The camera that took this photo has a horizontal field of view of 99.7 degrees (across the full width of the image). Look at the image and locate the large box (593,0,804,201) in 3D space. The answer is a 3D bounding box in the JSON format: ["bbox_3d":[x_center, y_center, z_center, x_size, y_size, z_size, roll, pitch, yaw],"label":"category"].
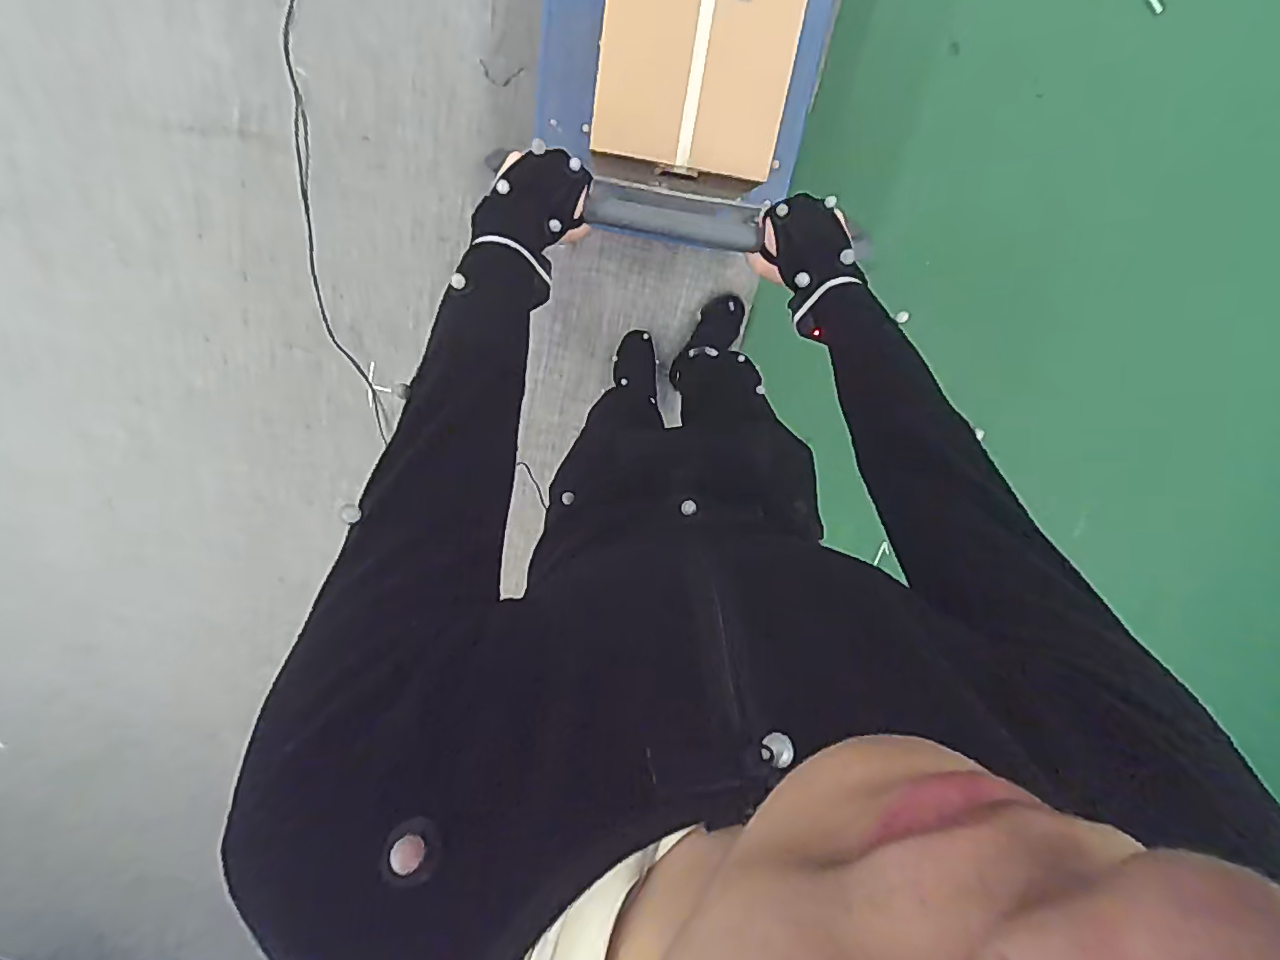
[{"bbox_3d":[0.096,-0.774,0.998,0.320,0.320,0.408,8,110,-5],"label":"large box"}]
